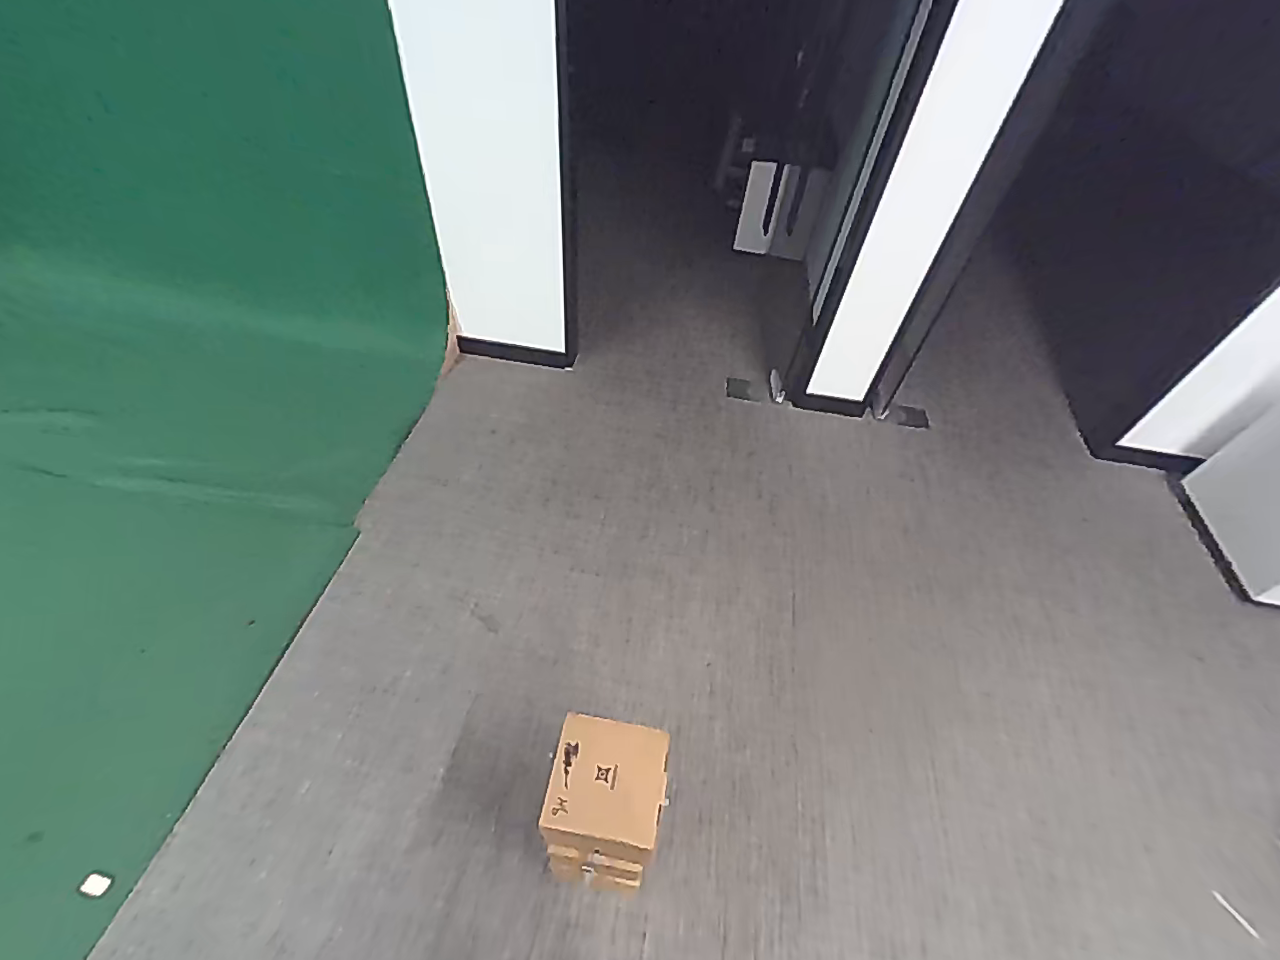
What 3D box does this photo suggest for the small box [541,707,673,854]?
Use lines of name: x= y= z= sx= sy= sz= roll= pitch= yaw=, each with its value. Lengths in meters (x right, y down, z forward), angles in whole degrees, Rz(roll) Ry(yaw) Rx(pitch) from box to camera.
small box: x=-0.051 y=0.503 z=0.900 sx=0.179 sy=0.176 sz=0.168 roll=10 pitch=49 yaw=5

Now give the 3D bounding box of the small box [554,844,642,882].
small box: x=-0.069 y=0.725 z=1.138 sx=0.179 sy=0.176 sz=0.168 roll=12 pitch=50 yaw=5

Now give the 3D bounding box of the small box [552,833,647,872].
small box: x=-0.059 y=0.614 z=1.021 sx=0.168 sy=0.176 sz=0.179 roll=9 pitch=51 yaw=5
